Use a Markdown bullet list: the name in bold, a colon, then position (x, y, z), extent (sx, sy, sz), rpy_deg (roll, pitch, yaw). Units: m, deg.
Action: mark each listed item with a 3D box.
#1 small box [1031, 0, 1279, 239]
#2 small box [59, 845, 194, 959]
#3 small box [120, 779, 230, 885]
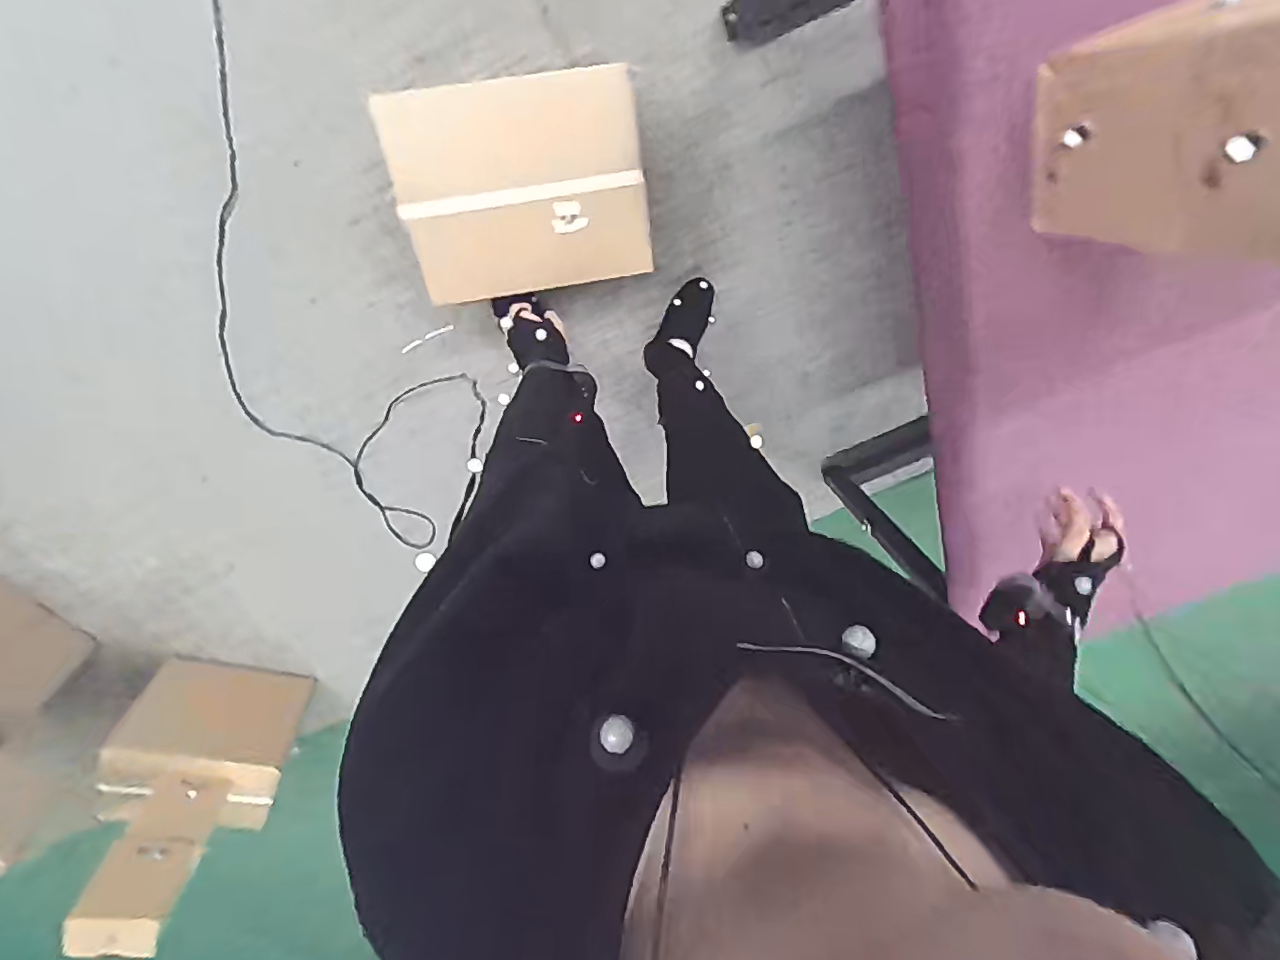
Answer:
- **small box**: position (0.509, -0.346, 0.497), extent (0.179, 0.176, 0.168), rpy_deg (-22, 121, 3)
- **small box**: position (-1.174, 0.983, 1.247), extent (0.168, 0.176, 0.179), rpy_deg (20, 114, -21)
- **small box**: position (-1.199, 0.910, 1.391), extent (0.168, 0.176, 0.179), rpy_deg (23, 113, -22)
